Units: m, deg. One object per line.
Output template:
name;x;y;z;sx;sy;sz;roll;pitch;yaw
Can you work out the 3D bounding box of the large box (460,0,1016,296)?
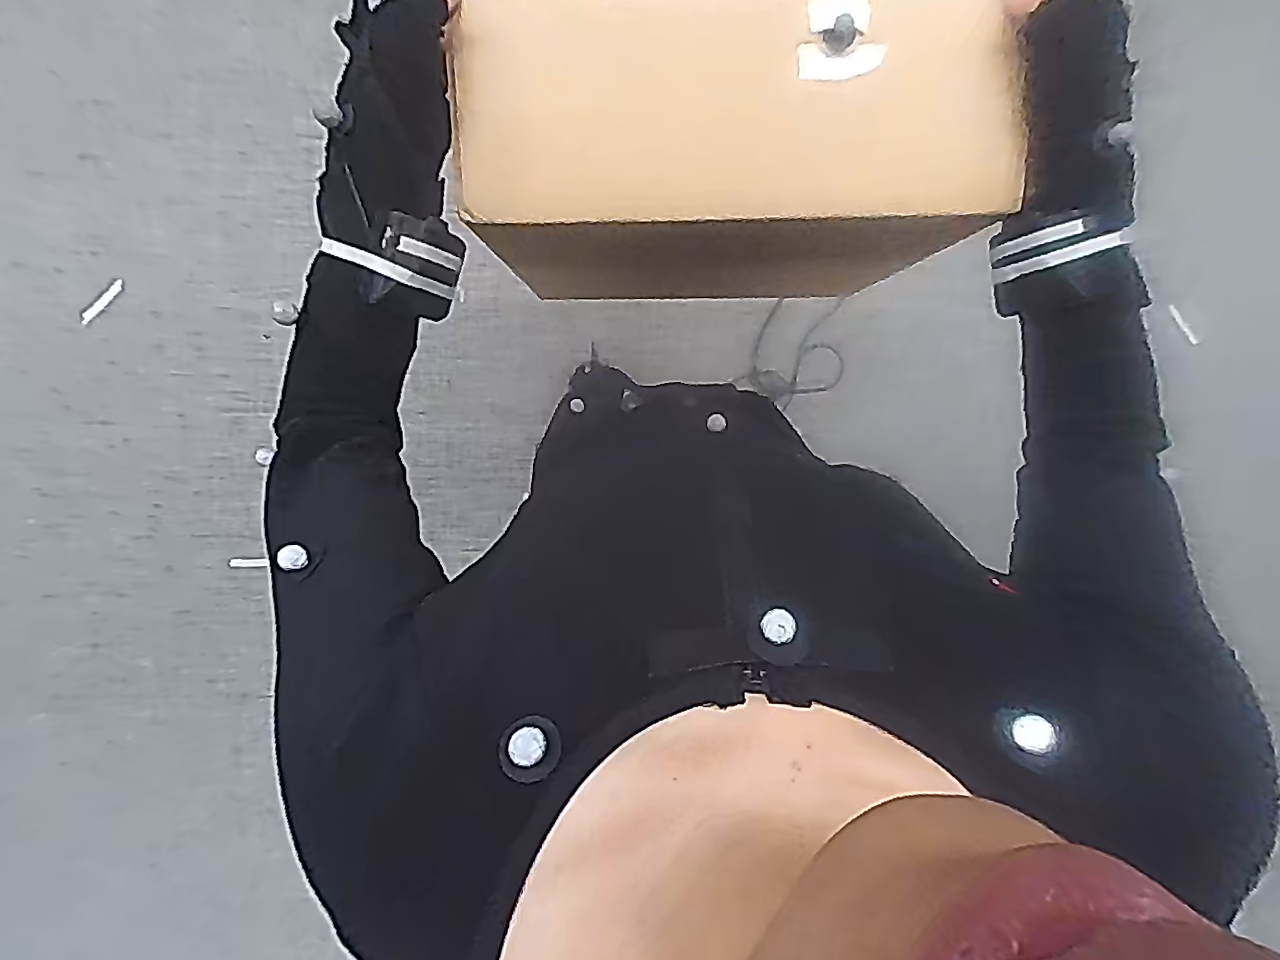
large box;0.066;-0.375;0.529;0.408;0.320;0.320;-1;98;-1
